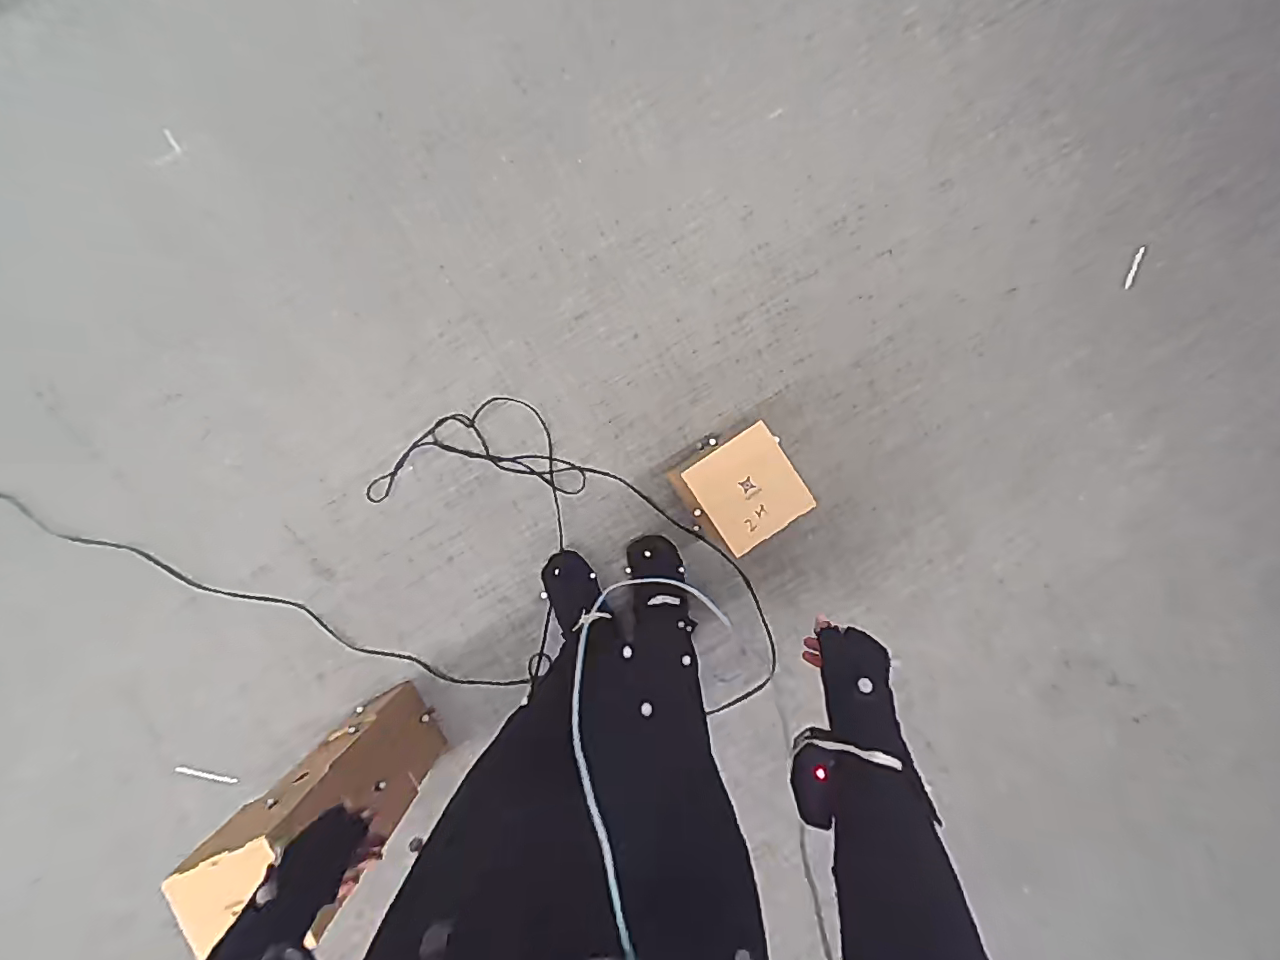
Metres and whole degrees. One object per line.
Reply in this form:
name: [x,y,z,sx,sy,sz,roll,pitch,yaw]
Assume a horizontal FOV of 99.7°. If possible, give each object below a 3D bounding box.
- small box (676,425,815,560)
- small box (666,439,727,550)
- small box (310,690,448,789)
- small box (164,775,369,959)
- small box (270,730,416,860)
small box: [0.179,0.020,0.983,0.168,0.176,0.179,-34,93,1]
small box: [0.170,0.021,1.147,0.168,0.176,0.179,-33,92,1]
small box: [-0.553,0.583,1.169,0.168,0.176,0.179,-32,91,4]
small box: [-0.560,0.608,0.840,0.168,0.176,0.179,-24,92,1]
small box: [-0.553,0.597,1.002,0.168,0.176,0.179,-29,93,1]
